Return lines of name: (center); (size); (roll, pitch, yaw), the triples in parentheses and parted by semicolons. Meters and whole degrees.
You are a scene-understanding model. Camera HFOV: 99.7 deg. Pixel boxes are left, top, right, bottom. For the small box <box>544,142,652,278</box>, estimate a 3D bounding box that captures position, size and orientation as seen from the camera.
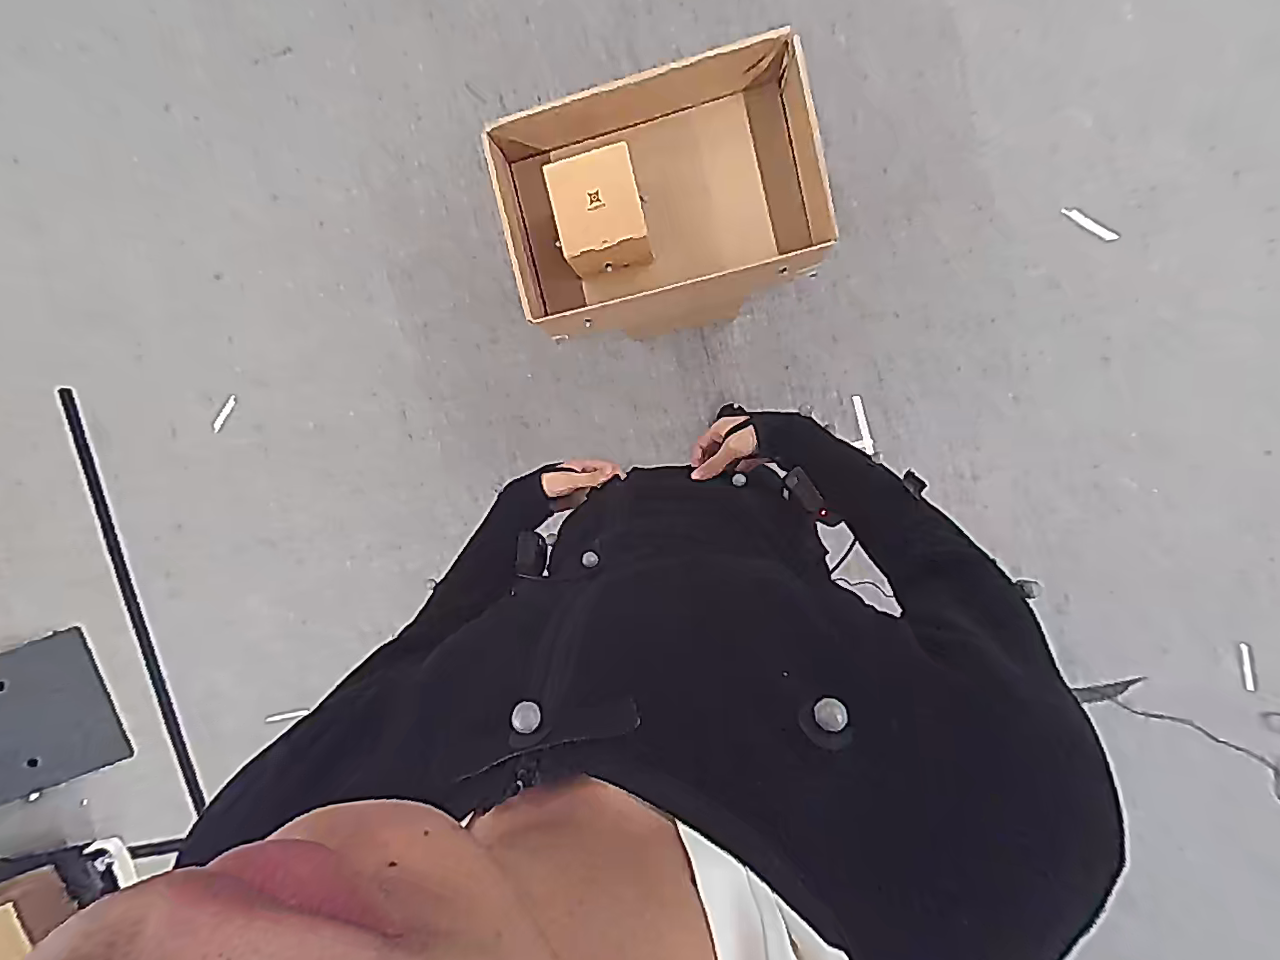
small box: (-0.077, -0.534, 1.093); (0.168, 0.176, 0.179); (-14, 95, 7)
